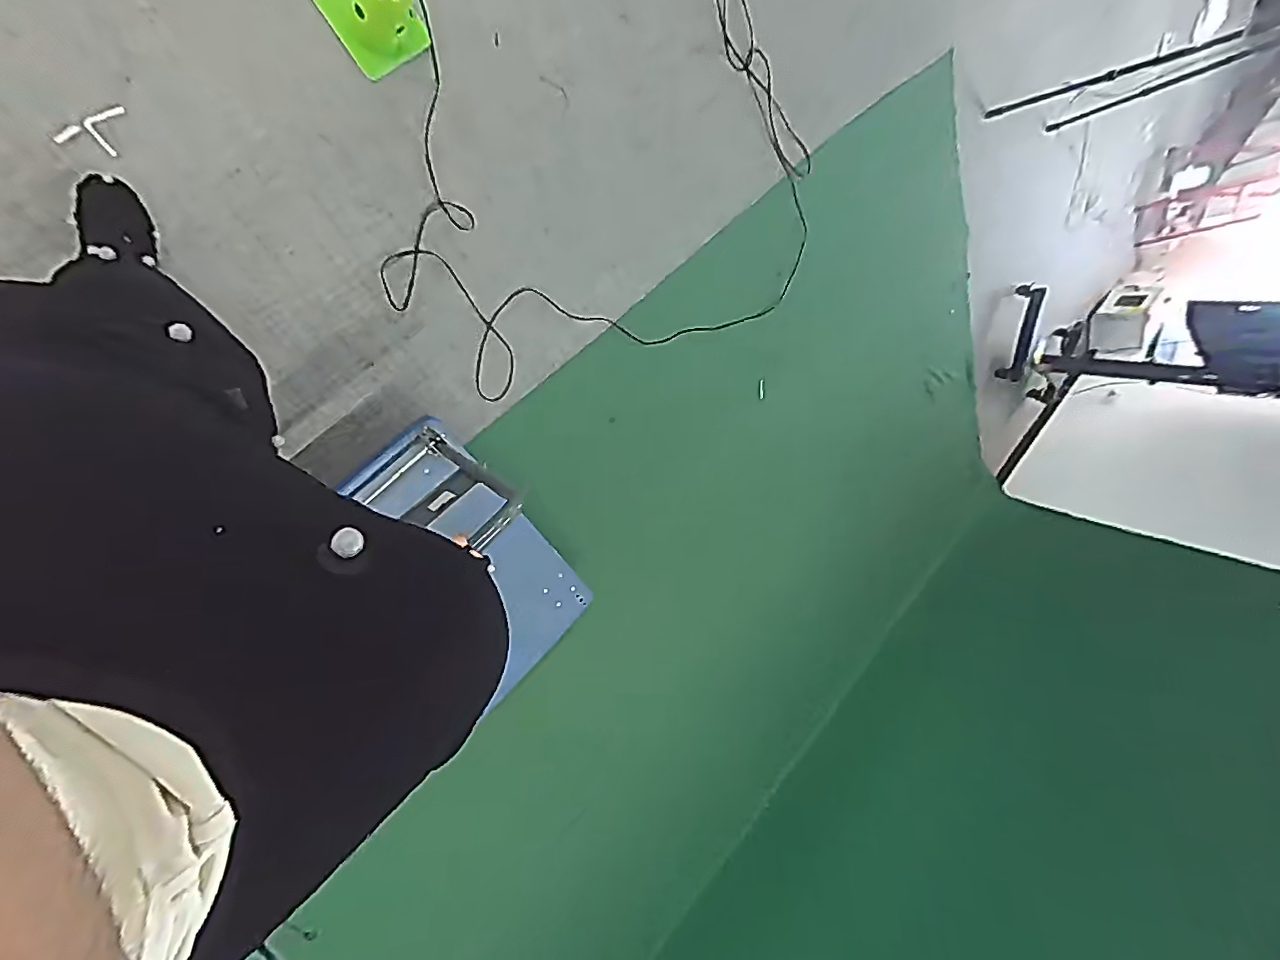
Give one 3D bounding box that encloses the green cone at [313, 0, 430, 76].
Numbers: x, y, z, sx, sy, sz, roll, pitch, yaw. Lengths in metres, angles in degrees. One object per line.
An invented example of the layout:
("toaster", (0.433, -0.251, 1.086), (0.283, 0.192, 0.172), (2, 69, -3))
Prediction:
("green cone", (-0.512, -1.029, 1.110), (0.202, 0.368, 0.200), (-49, 129, -16))
